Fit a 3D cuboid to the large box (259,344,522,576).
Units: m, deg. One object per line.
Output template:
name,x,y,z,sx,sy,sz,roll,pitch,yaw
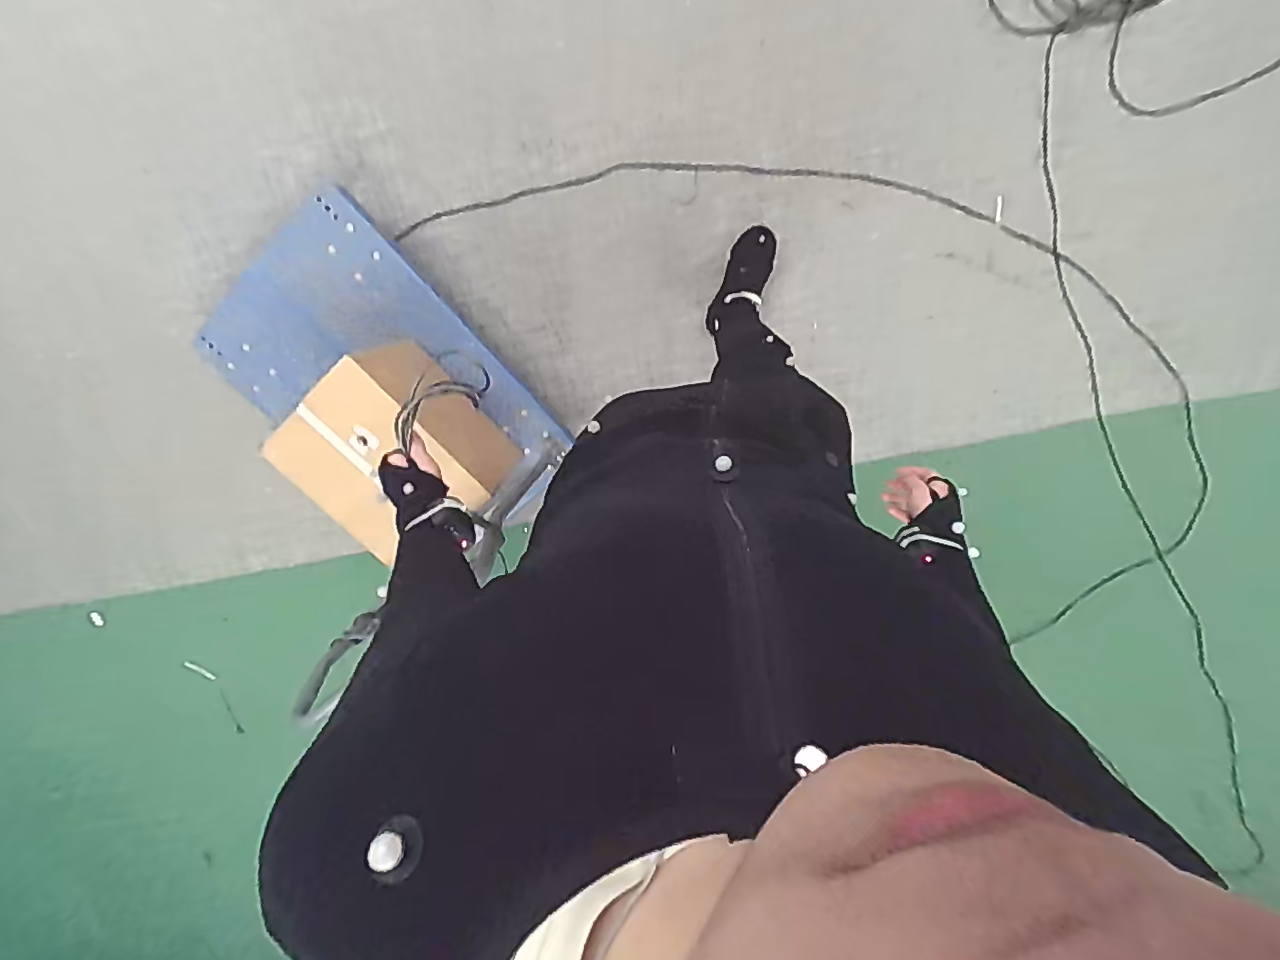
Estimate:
large box,-0.557,-0.060,1.289,0.320,0.320,0.408,-39,103,14
